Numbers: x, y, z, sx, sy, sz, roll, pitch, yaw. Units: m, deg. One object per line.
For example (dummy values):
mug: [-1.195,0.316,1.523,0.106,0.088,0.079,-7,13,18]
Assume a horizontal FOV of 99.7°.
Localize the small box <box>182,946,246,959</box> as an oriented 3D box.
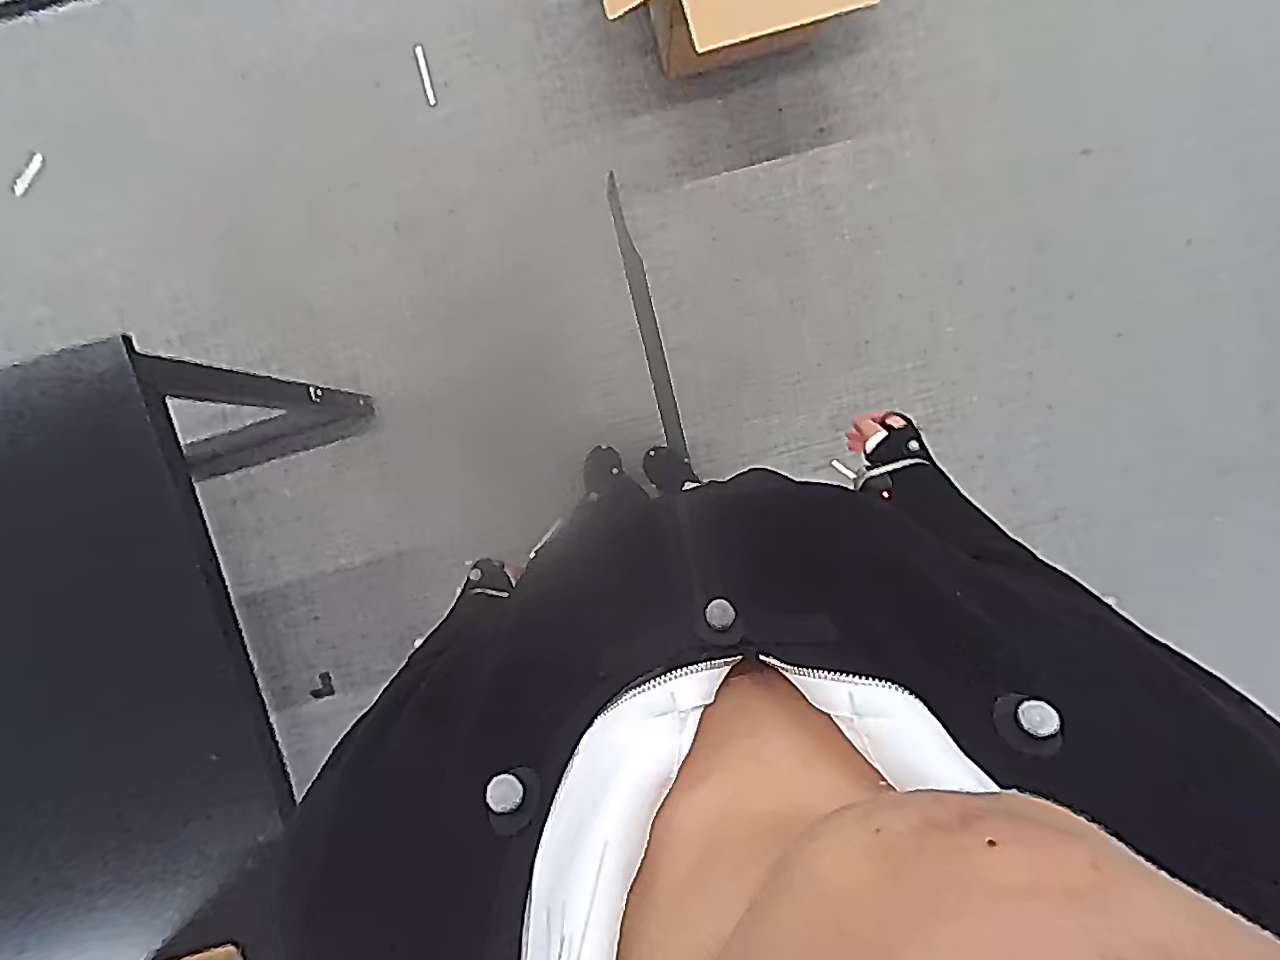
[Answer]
small box: [-0.636,0.790,0.721,0.168,0.176,0.179,-18,93,1]
